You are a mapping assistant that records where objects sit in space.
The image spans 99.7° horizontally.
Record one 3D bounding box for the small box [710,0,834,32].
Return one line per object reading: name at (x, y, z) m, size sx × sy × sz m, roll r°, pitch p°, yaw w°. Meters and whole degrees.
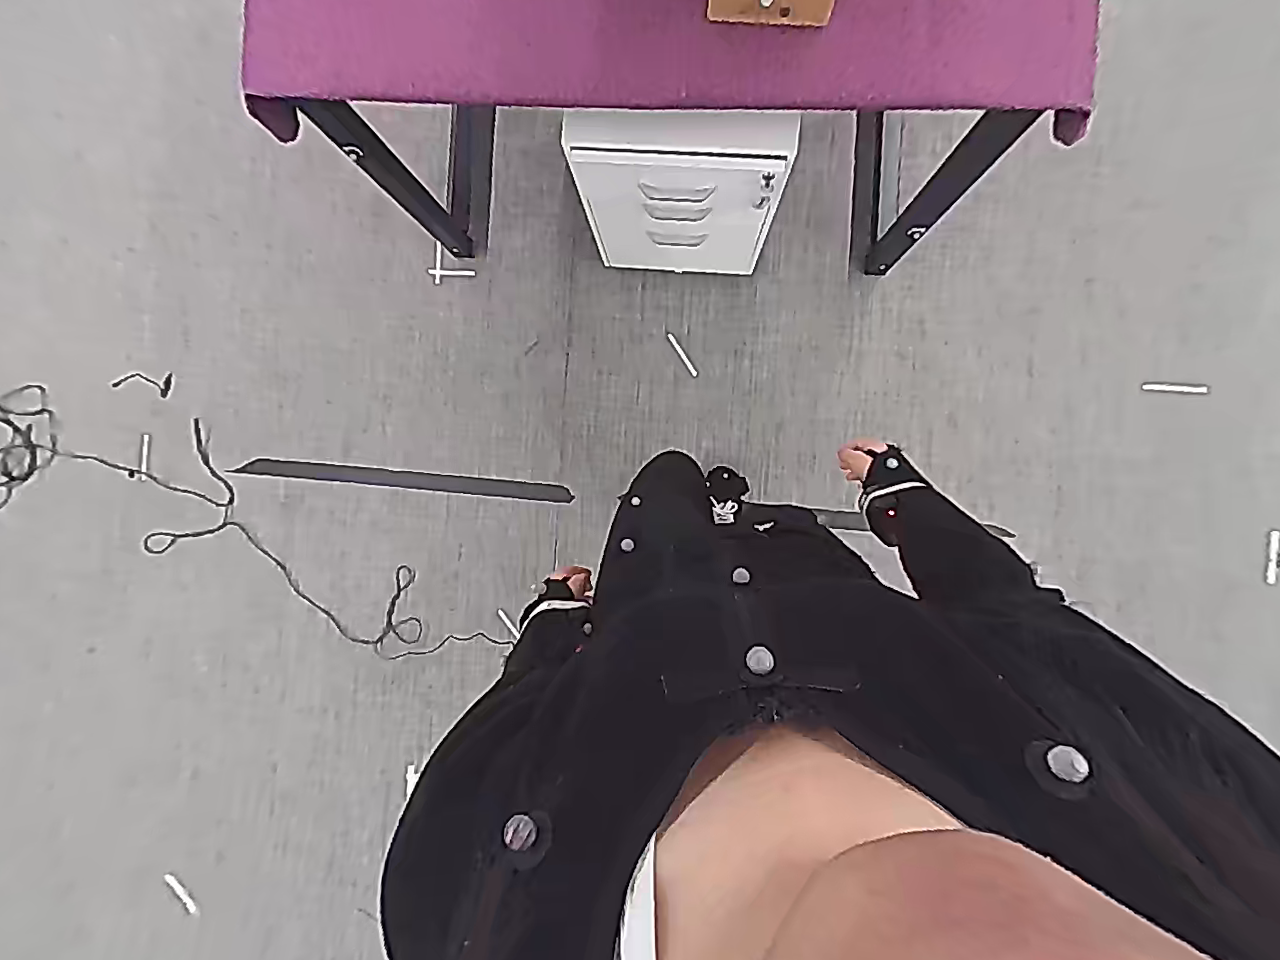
small box at (0.180, -0.714, 0.670) m, size 0.168 × 0.176 × 0.179 m, roll 7°, pitch 90°, yaw 5°
